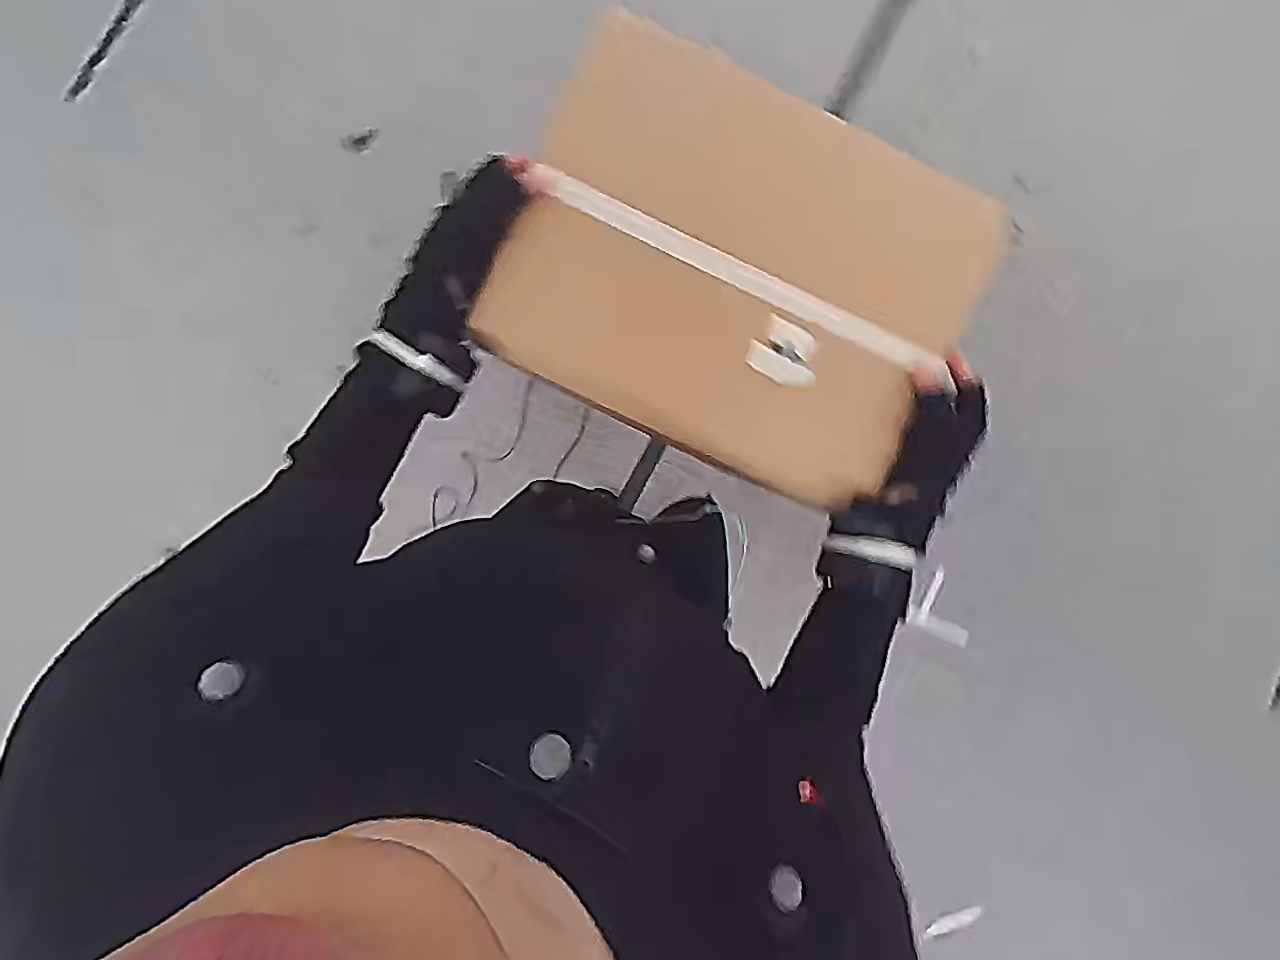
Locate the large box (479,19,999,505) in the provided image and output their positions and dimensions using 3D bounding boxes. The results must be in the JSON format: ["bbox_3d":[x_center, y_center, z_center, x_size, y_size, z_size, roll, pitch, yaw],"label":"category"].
[{"bbox_3d":[0.086,-0.203,0.643,0.408,0.320,0.320,25,94,-4],"label":"large box"}]
